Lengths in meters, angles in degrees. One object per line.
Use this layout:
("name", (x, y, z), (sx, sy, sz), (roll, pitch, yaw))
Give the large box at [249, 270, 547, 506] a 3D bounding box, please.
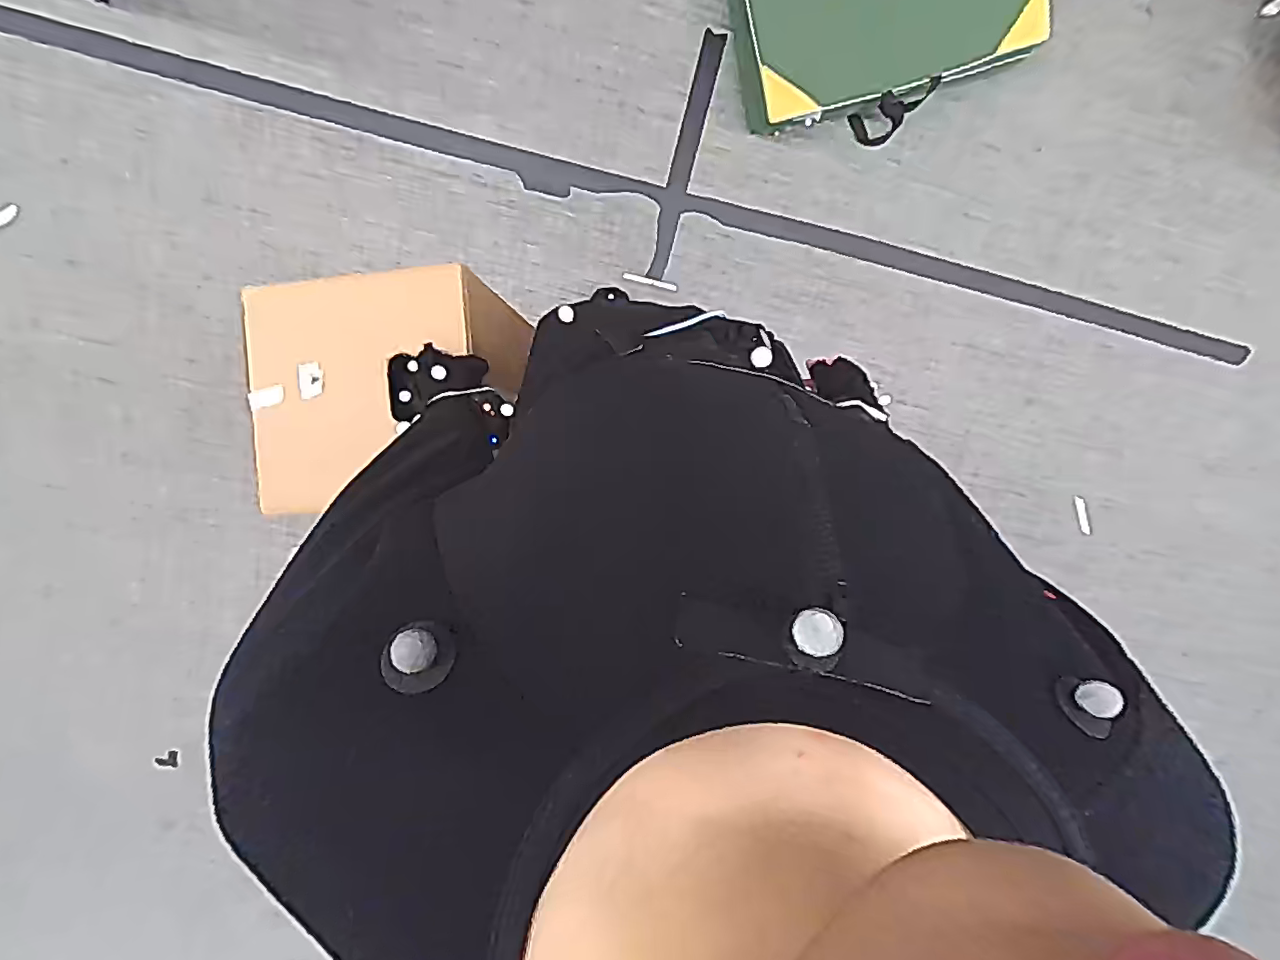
("large box", (-0.365, -0.130, 0.924), (0.320, 0.408, 0.320), (-1, 91, 5))
